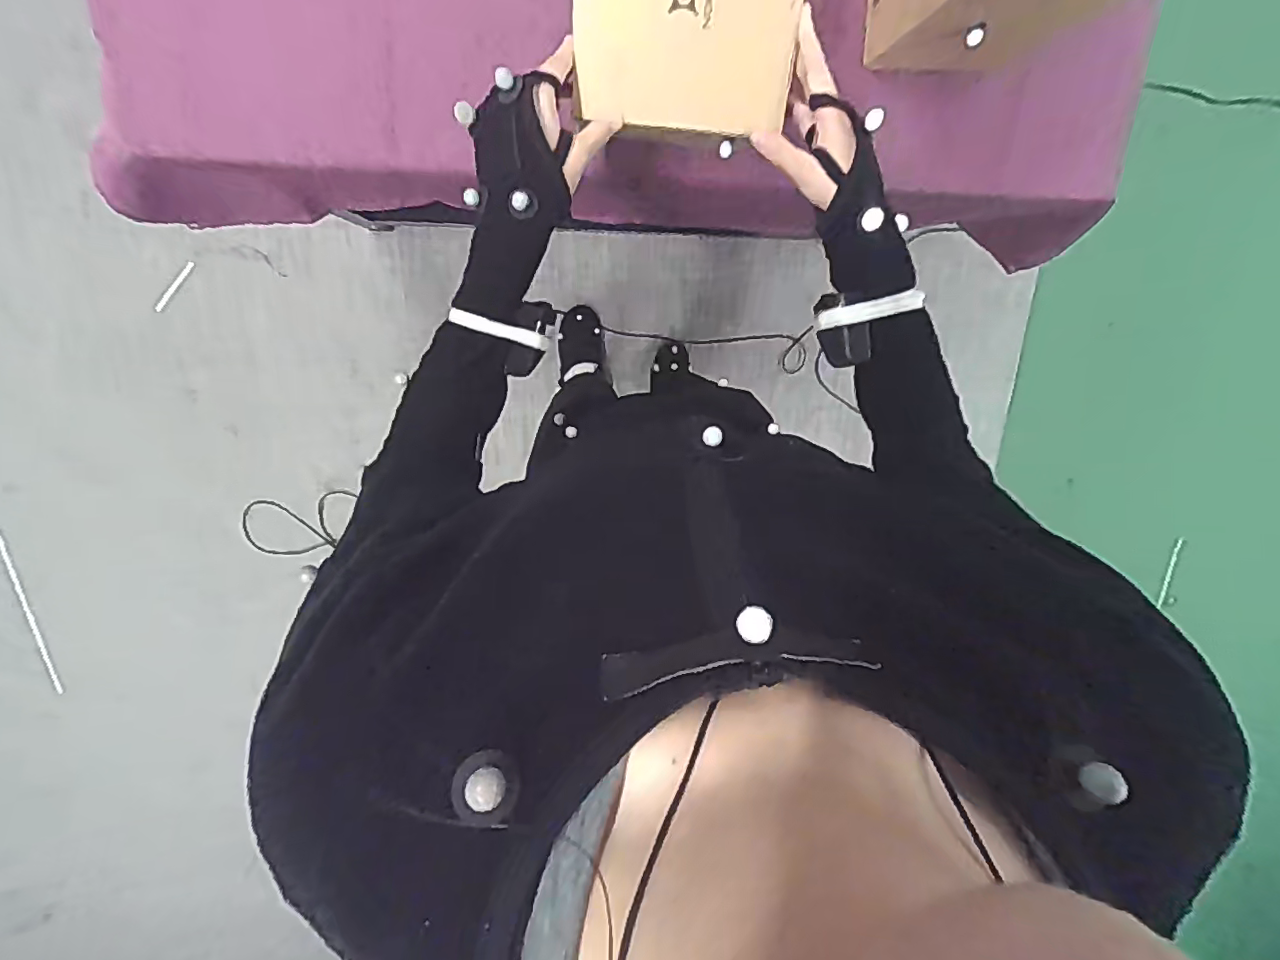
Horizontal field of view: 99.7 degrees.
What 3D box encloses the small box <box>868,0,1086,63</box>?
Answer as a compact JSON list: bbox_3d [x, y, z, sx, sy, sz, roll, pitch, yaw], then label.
[{"bbox_3d":[0.359,-0.559,0.555,0.179,0.176,0.168,-4,108,-6],"label":"small box"}]
